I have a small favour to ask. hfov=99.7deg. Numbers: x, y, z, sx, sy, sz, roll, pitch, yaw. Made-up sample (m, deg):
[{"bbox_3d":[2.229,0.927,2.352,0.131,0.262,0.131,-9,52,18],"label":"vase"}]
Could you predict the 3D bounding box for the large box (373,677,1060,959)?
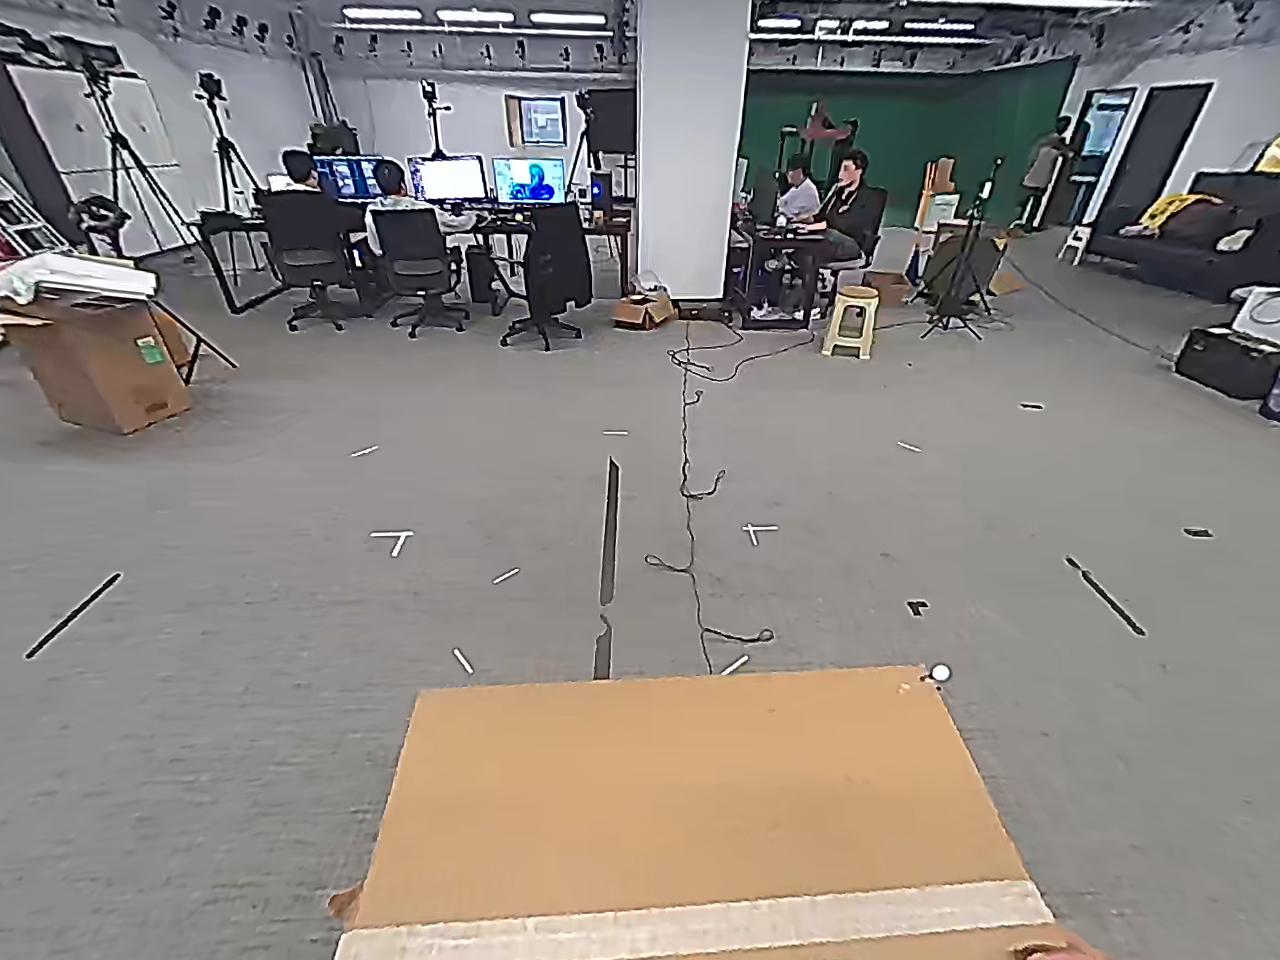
[{"bbox_3d":[0.040,0.382,0.415,0.408,0.320,0.320,-2,42,-3],"label":"large box"}]
